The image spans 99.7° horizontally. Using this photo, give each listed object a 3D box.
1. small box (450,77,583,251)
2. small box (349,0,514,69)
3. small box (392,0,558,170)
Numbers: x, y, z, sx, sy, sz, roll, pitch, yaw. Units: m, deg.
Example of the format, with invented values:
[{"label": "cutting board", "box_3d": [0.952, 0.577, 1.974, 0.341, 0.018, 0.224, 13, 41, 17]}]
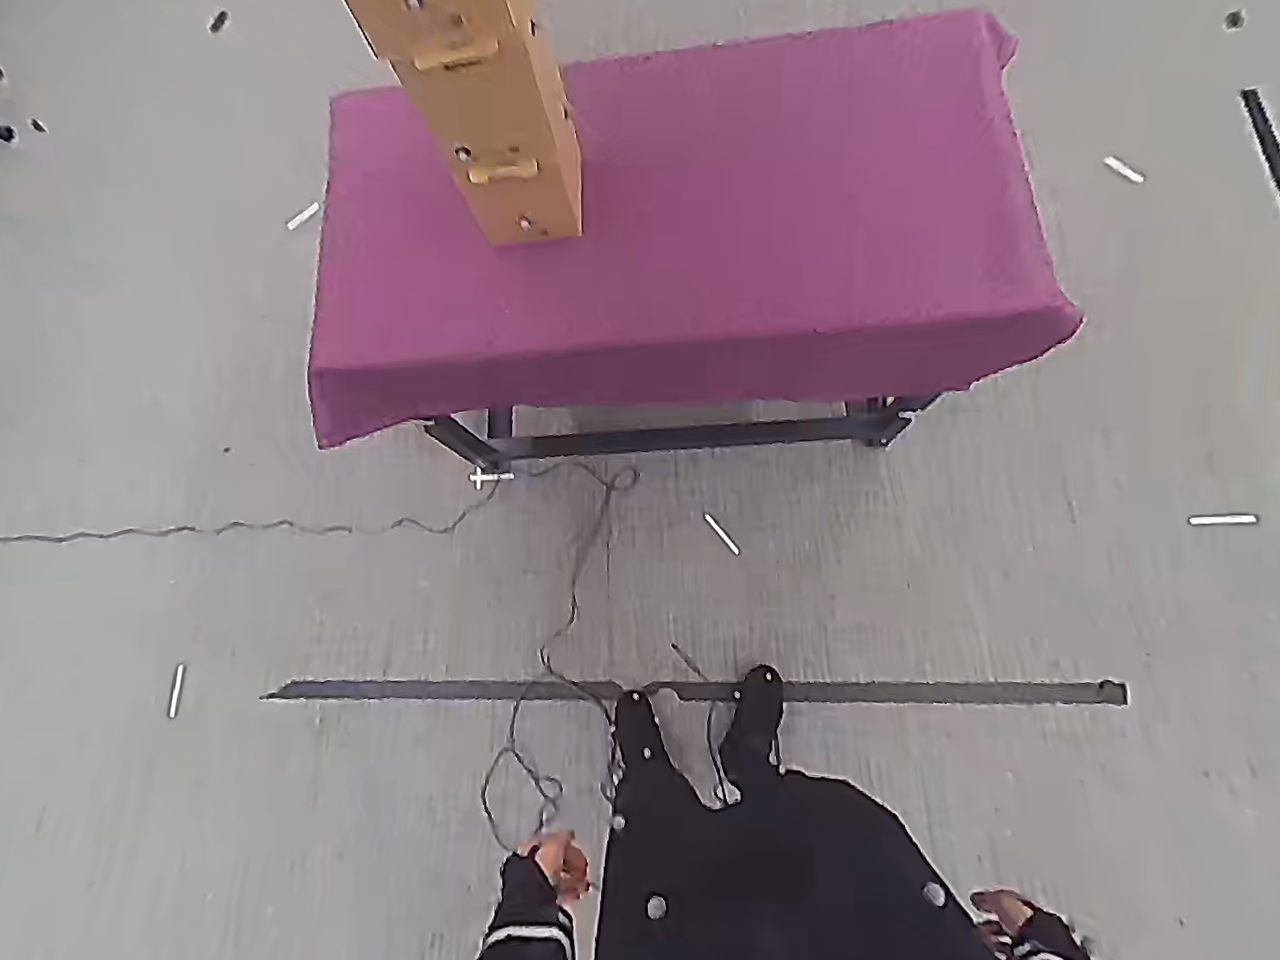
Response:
[{"label": "small box", "box_3d": [-0.193, -0.510, 0.889, 0.168, 0.176, 0.179, -4, 75, 6]}, {"label": "small box", "box_3d": [-0.245, -0.596, 0.578, 0.168, 0.176, 0.179, -11, 75, 3]}, {"label": "small box", "box_3d": [-0.212, -0.553, 0.732, 0.168, 0.176, 0.179, -7, 74, 4]}]
